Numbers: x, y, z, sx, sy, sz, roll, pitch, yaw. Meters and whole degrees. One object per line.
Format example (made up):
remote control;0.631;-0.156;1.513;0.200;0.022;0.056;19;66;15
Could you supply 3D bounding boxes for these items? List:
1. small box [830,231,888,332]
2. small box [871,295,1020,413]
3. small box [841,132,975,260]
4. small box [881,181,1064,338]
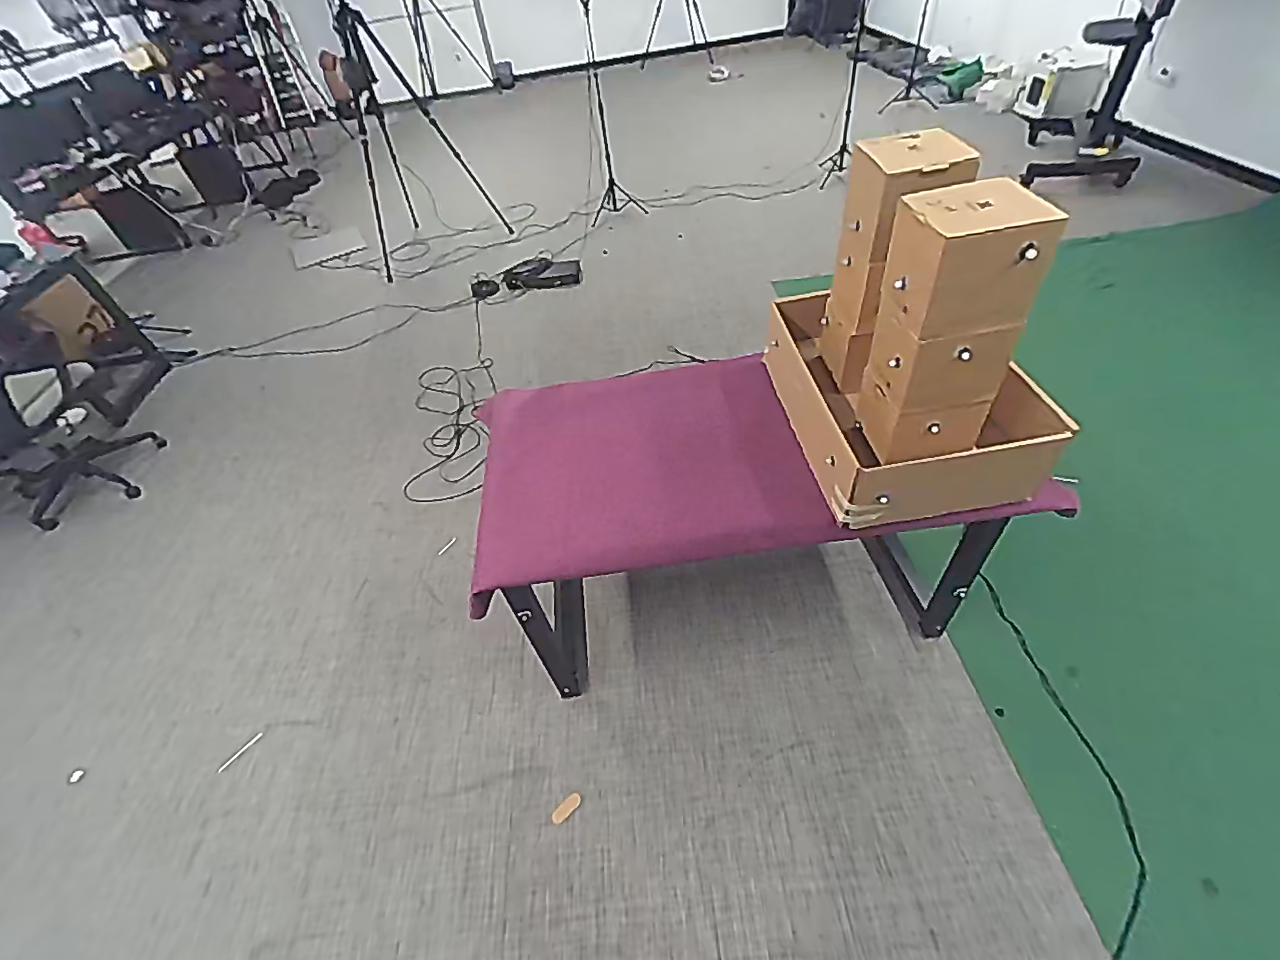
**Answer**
small box;0.528;-0.436;1.176;0.168;0.176;0.179;-8;48;3
small box;0.541;-0.240;0.993;0.179;0.176;0.168;-8;47;4
small box;0.509;-0.546;1.056;0.168;0.176;0.179;-8;49;2
small box;0.518;-0.353;0.875;0.179;0.176;0.168;-9;47;3
